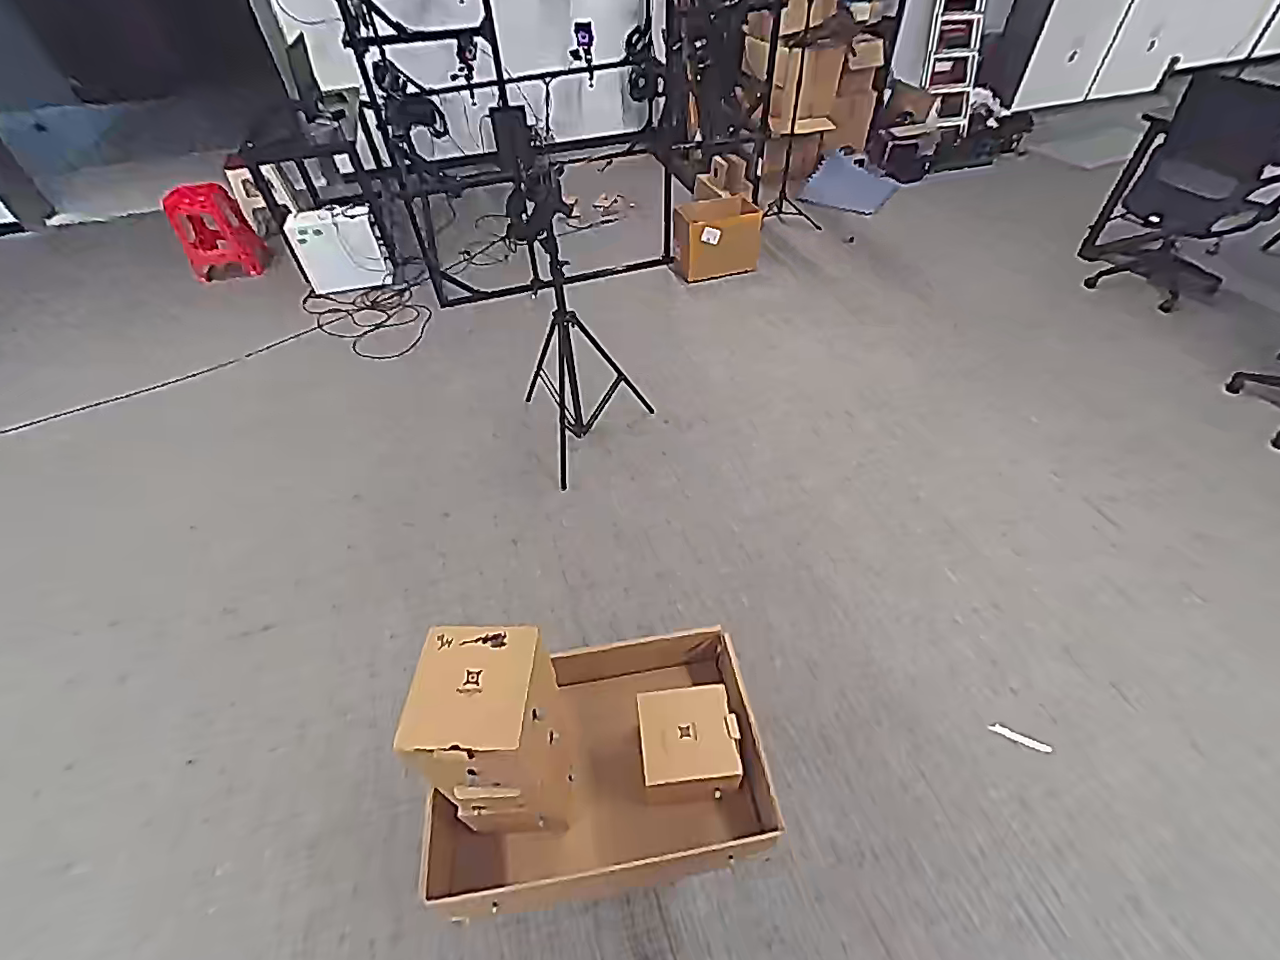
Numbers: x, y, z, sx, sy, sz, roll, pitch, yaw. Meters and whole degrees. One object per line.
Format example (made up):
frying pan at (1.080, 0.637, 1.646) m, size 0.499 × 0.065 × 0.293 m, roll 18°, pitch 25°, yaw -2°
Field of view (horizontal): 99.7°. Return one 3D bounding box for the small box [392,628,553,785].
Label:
small box at (-0.230, 0.338, 0.801) m, size 0.168 × 0.176 × 0.179 m, roll 0°, pitch 47°, yaw 3°

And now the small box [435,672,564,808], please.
small box at (-0.226, 0.446, 0.925) m, size 0.168 × 0.176 × 0.179 m, roll -3°, pitch 46°, yaw 0°
